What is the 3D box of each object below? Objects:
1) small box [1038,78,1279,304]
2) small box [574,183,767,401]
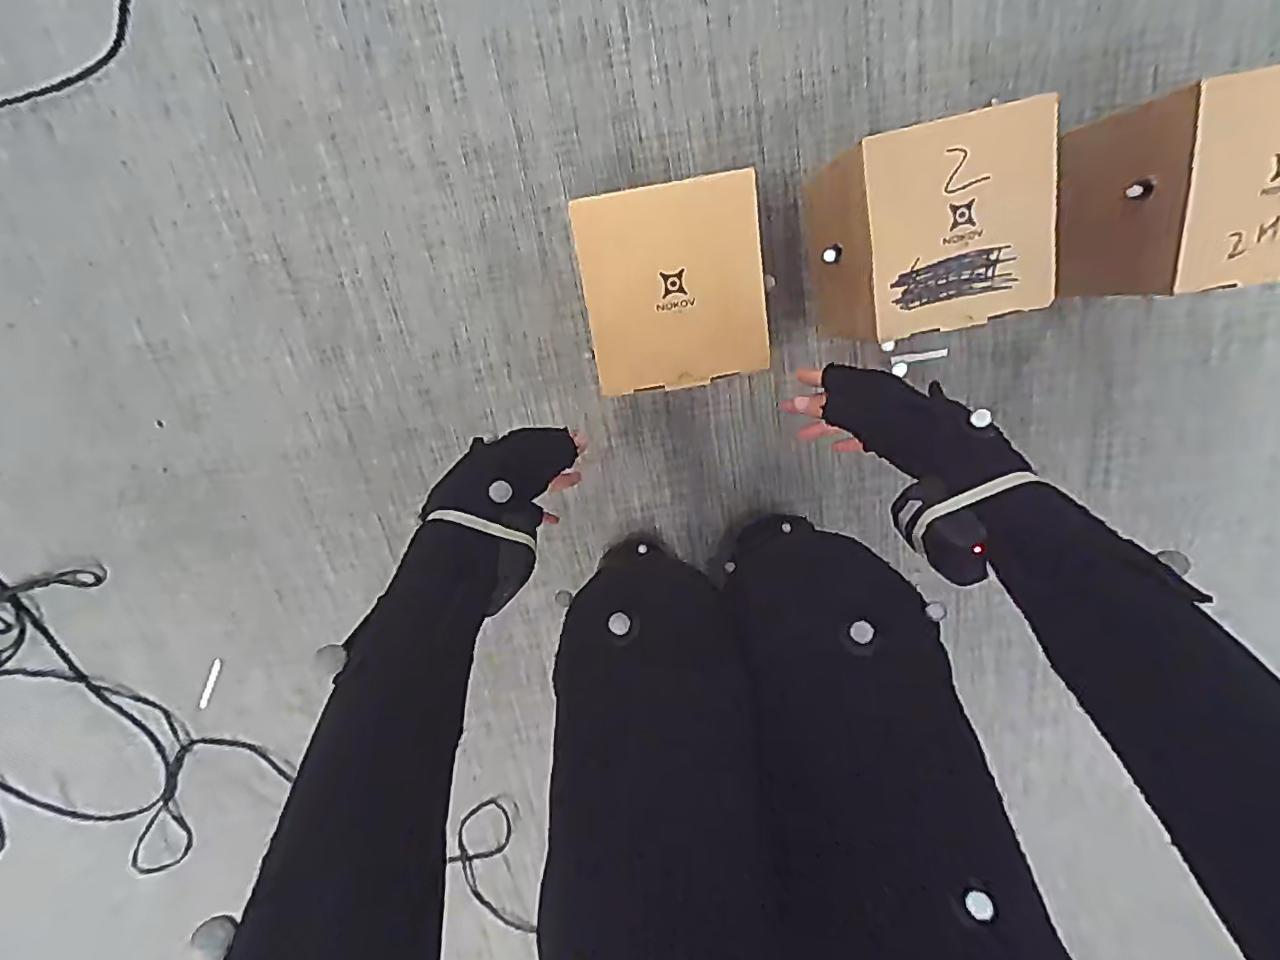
[{"bbox_3d":[0.553,-0.285,0.560,0.168,0.176,0.179,-9,109,3],"label":"small box"},{"bbox_3d":[0.031,-0.195,0.583,0.168,0.176,0.179,-9,108,3],"label":"small box"}]
